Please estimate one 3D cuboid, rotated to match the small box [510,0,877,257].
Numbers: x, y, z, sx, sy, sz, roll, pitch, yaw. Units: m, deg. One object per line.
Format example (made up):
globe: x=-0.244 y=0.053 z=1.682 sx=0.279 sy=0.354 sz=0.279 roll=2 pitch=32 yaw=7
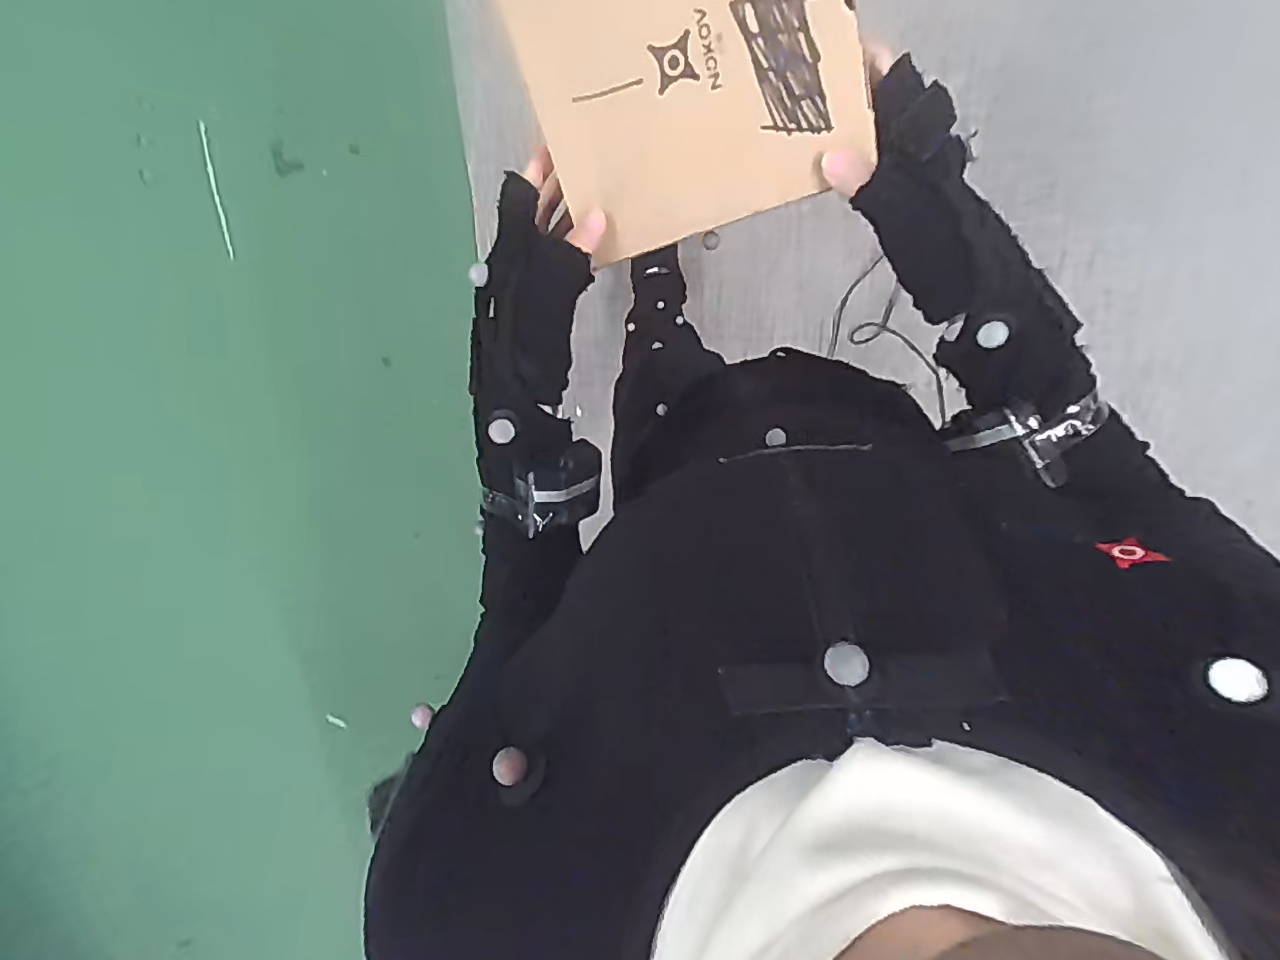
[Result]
small box: x=0.033 y=-0.263 z=0.357 sx=0.179 sy=0.176 sz=0.168 roll=-13 pitch=114 yaw=11
